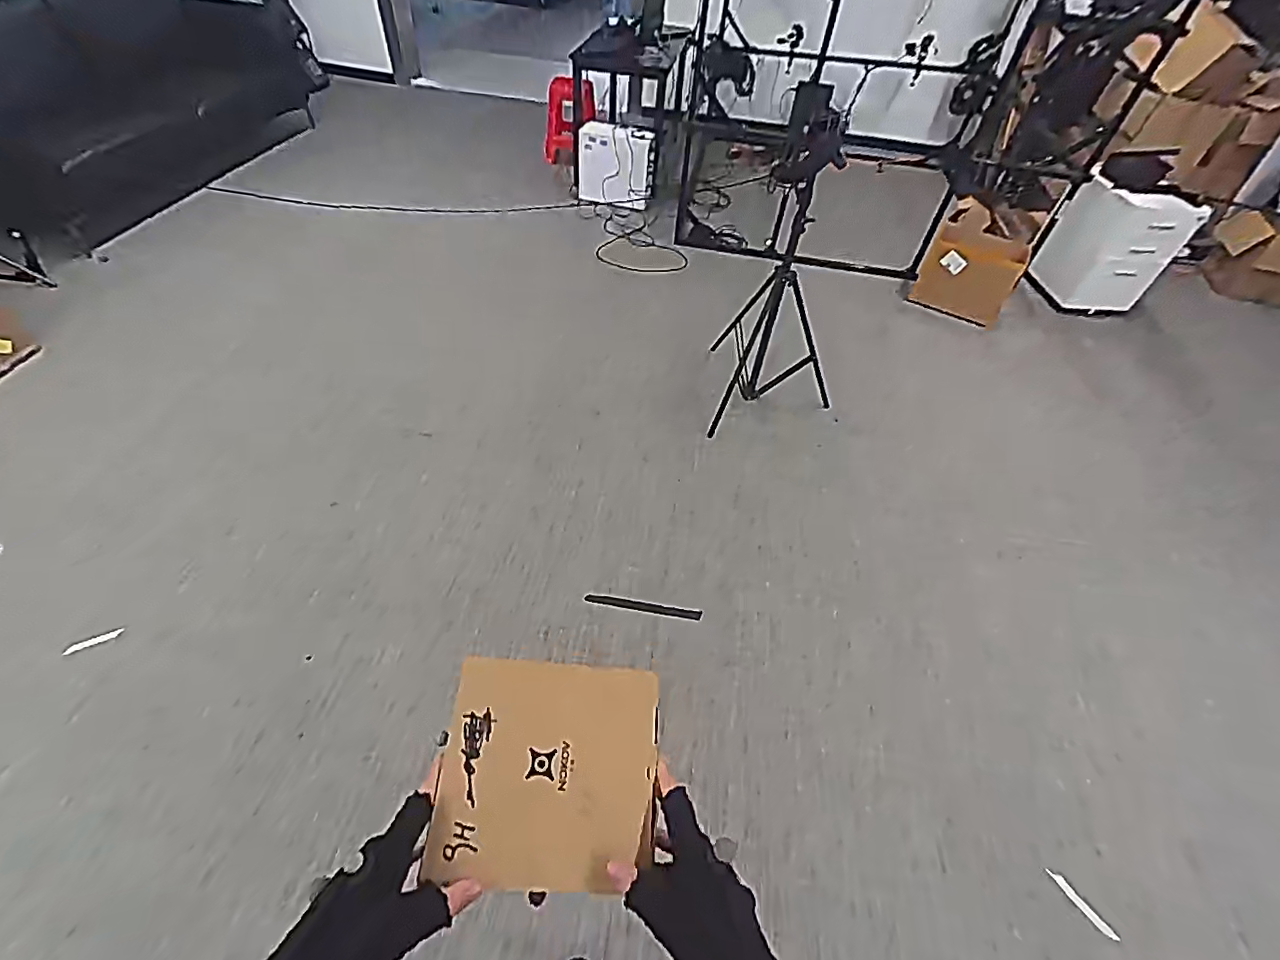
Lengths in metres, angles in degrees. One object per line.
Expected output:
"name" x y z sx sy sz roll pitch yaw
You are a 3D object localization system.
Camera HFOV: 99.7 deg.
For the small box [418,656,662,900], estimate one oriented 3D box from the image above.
"small box" -0.083 0.278 0.505 0.179 0.176 0.168 7 55 -6
